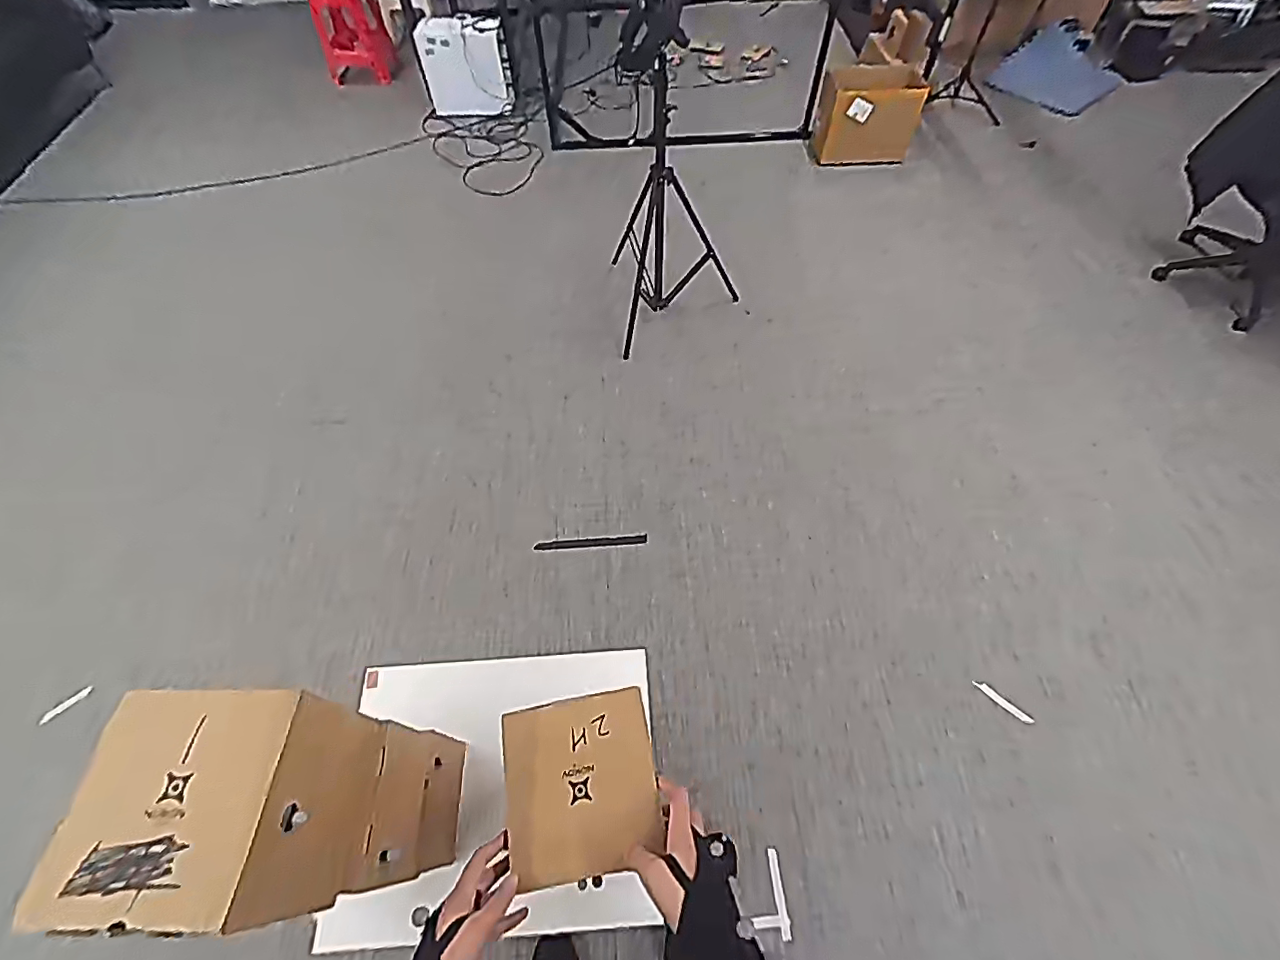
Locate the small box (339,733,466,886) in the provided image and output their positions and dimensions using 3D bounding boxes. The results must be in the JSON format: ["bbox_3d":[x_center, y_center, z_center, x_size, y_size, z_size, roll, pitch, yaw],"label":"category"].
[{"bbox_3d":[-0.368,0.481,0.795,0.168,0.176,0.179,-3,57,-1],"label":"small box"}]

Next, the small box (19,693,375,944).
[{"bbox_3d":[-0.381,0.311,0.513,0.168,0.176,0.179,0,57,1],"label":"small box"}]

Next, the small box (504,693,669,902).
[{"bbox_3d":[-0.059,0.376,0.655,0.168,0.176,0.179,-10,58,-4],"label":"small box"}]
